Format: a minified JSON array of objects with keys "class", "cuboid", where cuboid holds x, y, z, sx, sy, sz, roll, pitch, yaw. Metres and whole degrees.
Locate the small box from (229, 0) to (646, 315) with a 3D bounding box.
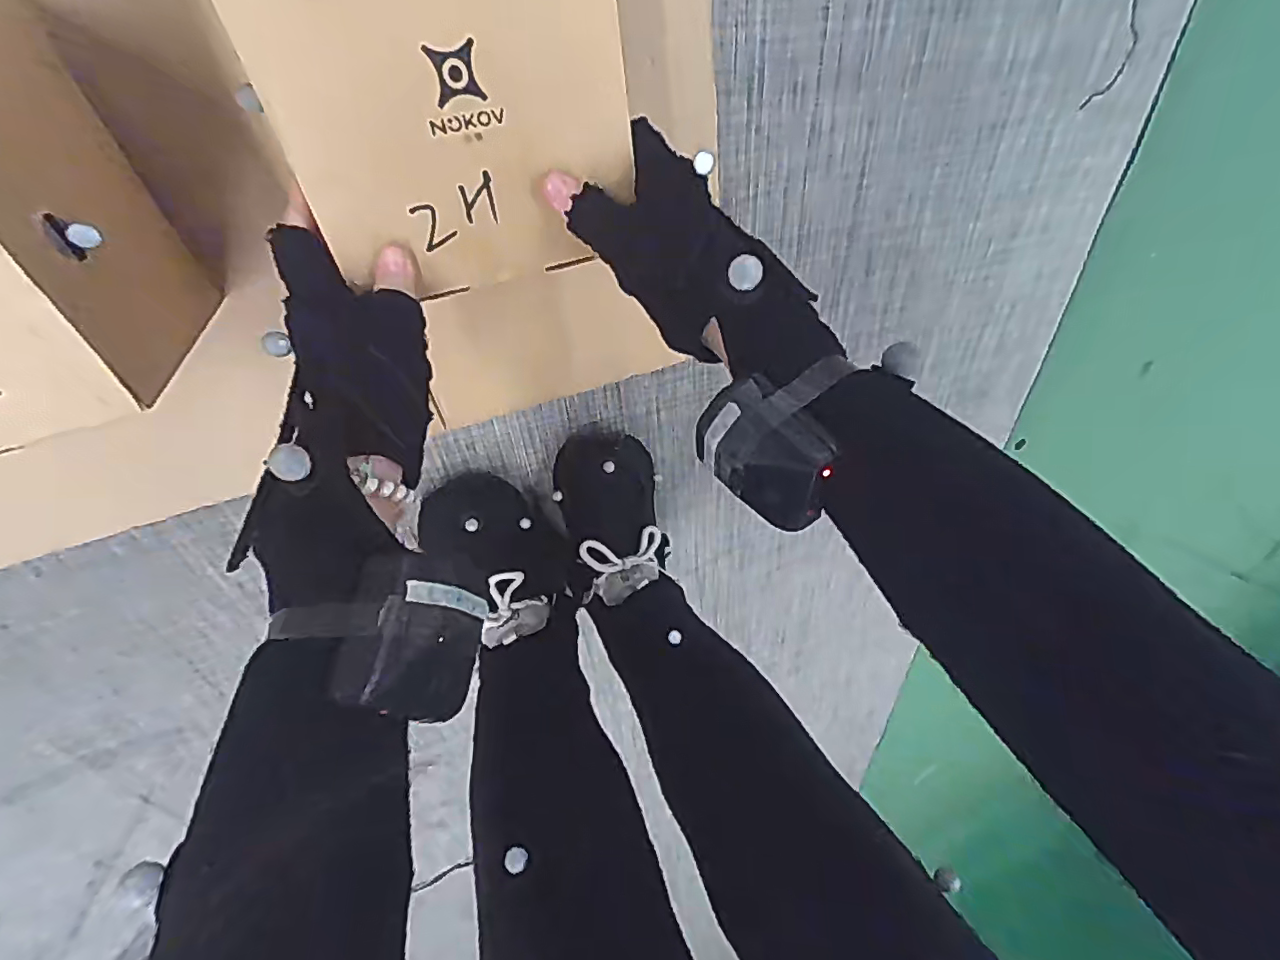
[{"class":"small box","cuboid":[-0.108,-0.223,0.313,0.168,0.176,0.179,-18,131,-11]}]
